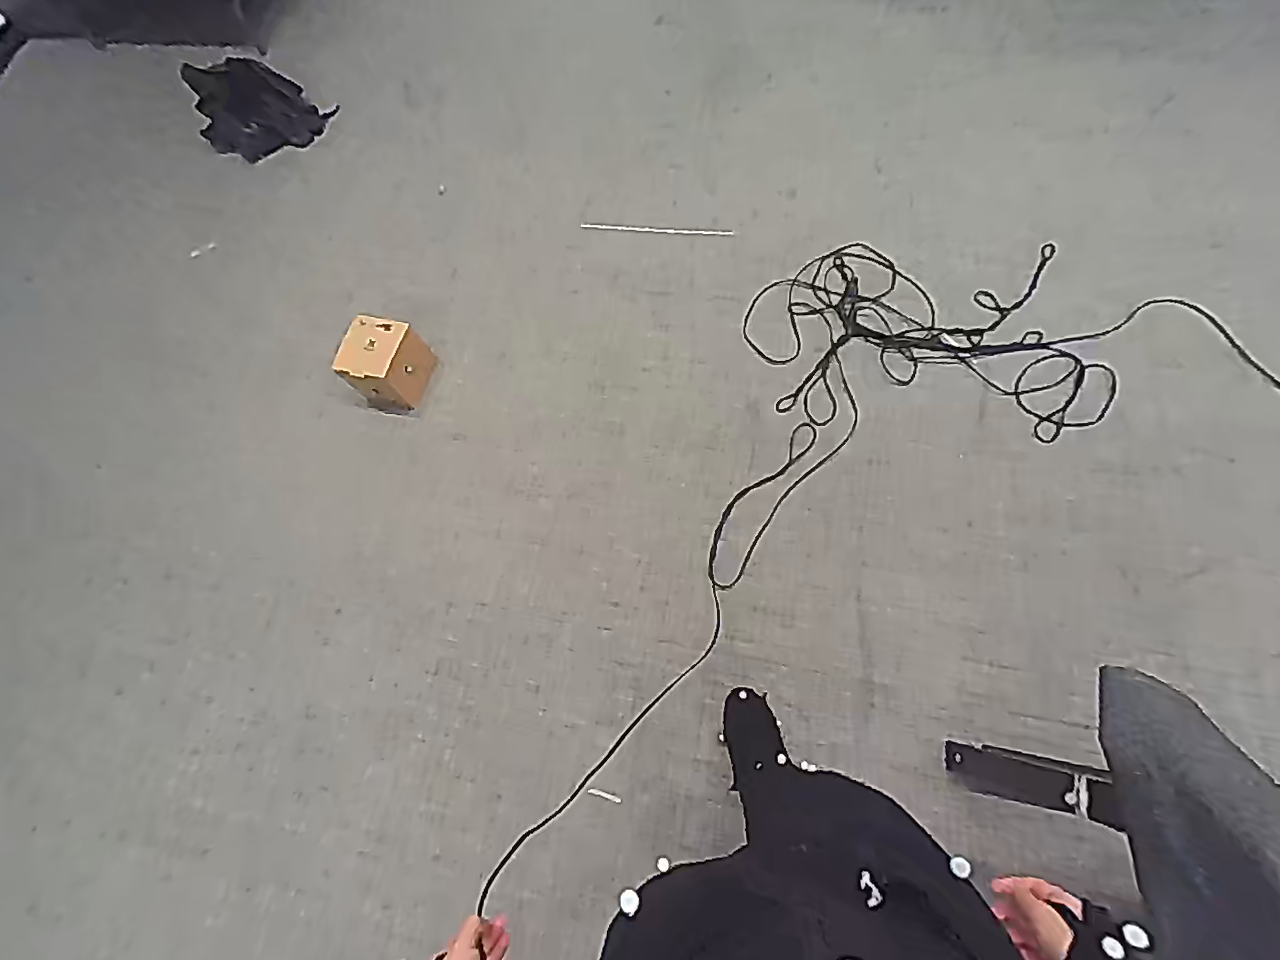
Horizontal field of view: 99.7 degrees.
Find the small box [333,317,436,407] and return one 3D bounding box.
[{"bbox_3d":[-0.701,-0.322,1.507,0.168,0.176,0.179,12,73,11],"label":"small box"}]
